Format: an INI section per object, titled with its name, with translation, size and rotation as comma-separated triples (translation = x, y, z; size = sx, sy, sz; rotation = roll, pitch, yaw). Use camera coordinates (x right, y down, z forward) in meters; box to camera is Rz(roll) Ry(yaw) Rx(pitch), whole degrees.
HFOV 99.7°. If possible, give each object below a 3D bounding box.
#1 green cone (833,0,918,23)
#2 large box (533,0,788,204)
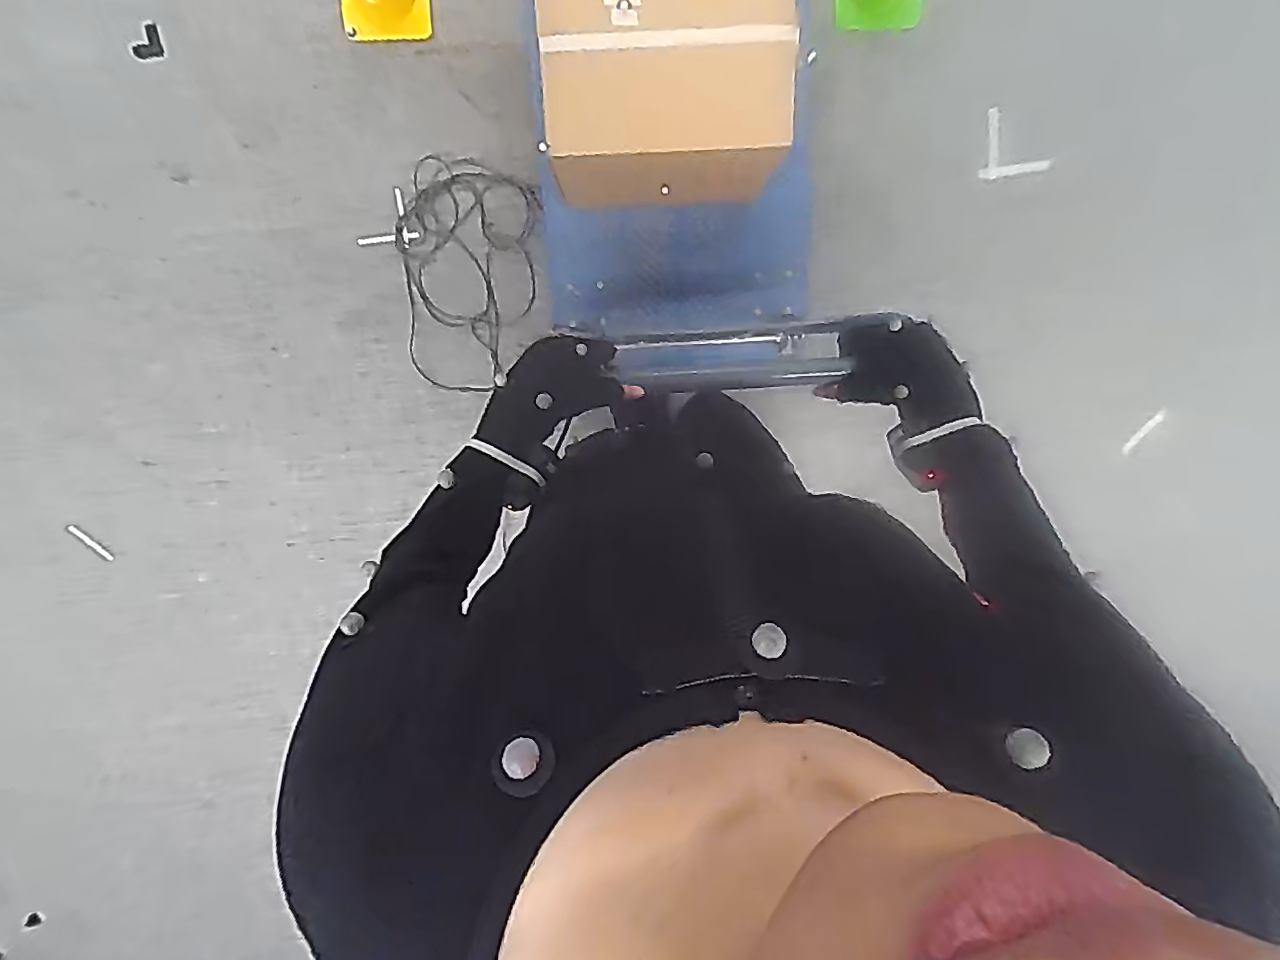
[green cone]
translation = 0.549, -1.125, 1.069
size = 0.202, 0.368, 0.200
rotation = -2, 102, -2
[large box]
translation = 0.036, -0.723, 0.999
size = 0.408, 0.320, 0.320
rotation = -3, 102, 0
